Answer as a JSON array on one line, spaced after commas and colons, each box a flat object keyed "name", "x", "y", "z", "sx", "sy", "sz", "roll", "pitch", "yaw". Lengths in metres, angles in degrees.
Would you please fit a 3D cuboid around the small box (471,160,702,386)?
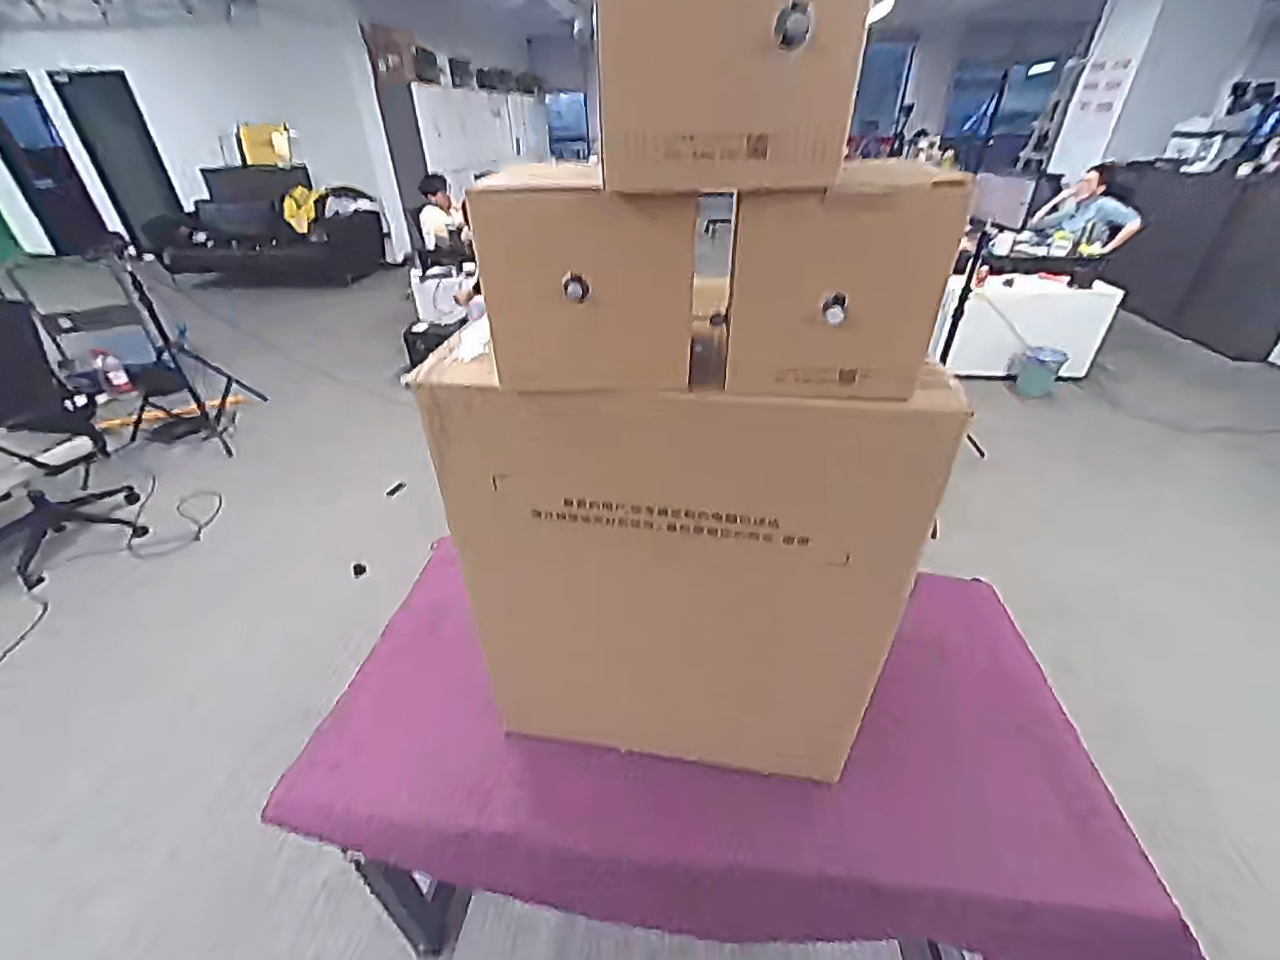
[{"name": "small box", "x": -0.037, "y": -0.197, "z": 0.513, "sx": 0.179, "sy": 0.176, "sz": 0.168, "roll": 0, "pitch": 35, "yaw": 2}]

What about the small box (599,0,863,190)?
[{"name": "small box", "x": 0.055, "y": -0.318, "z": 0.402, "sx": 0.168, "sy": 0.176, "sz": 0.179, "roll": -1, "pitch": 34, "yaw": -2}]

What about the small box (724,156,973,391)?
[{"name": "small box", "x": 0.168, "y": -0.193, "z": 0.501, "sx": 0.168, "sy": 0.176, "sz": 0.179, "roll": 4, "pitch": 36, "yaw": 6}]
